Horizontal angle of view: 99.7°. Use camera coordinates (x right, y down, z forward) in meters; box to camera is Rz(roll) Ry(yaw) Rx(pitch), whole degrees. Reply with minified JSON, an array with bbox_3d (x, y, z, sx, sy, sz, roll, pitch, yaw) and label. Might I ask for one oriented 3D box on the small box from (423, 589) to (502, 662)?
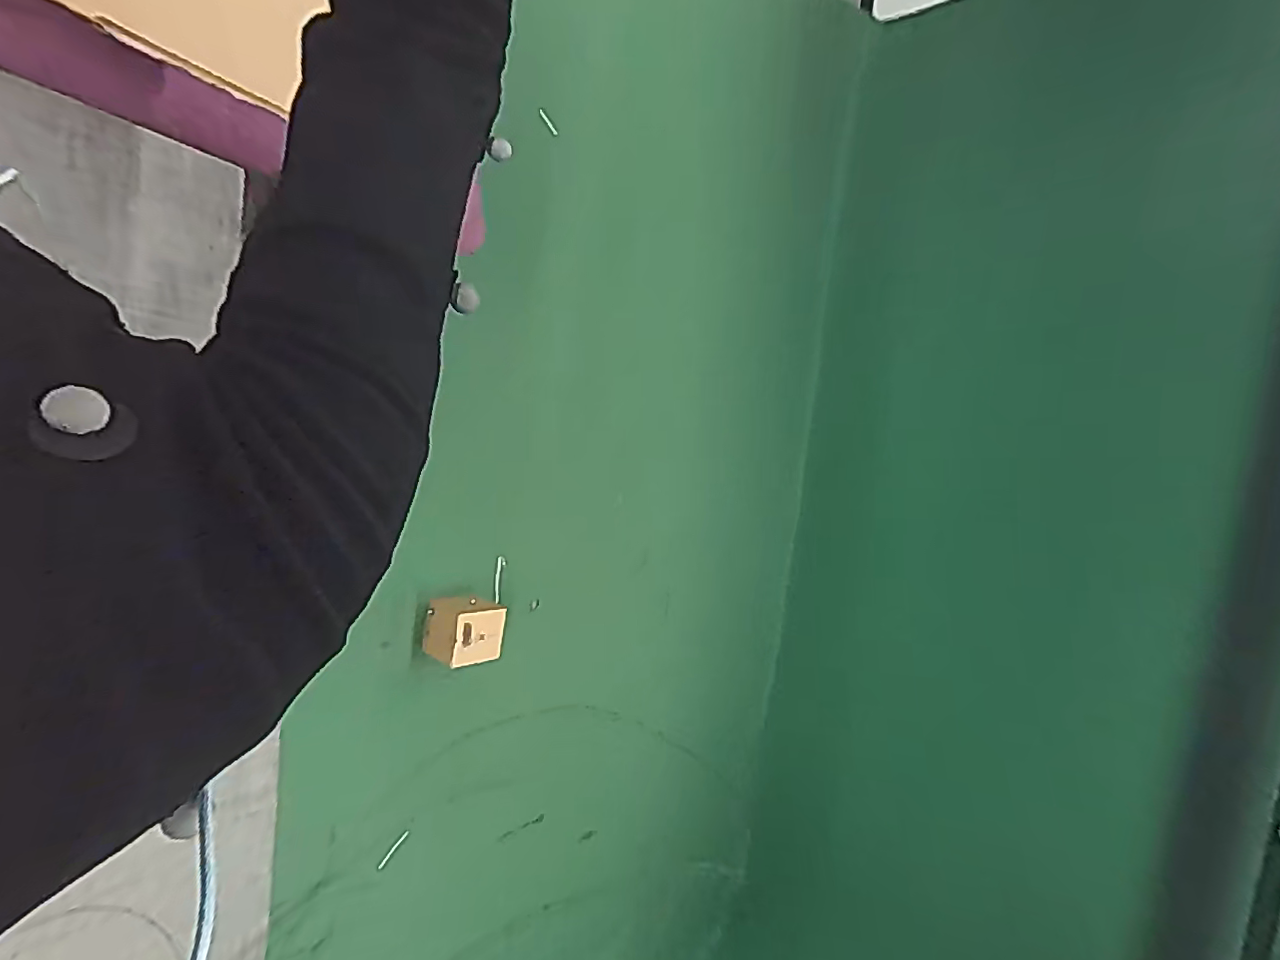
[{"bbox_3d":[-0.564,0.454,1.709,0.179,0.176,0.168,2,97,-50],"label":"small box"}]
